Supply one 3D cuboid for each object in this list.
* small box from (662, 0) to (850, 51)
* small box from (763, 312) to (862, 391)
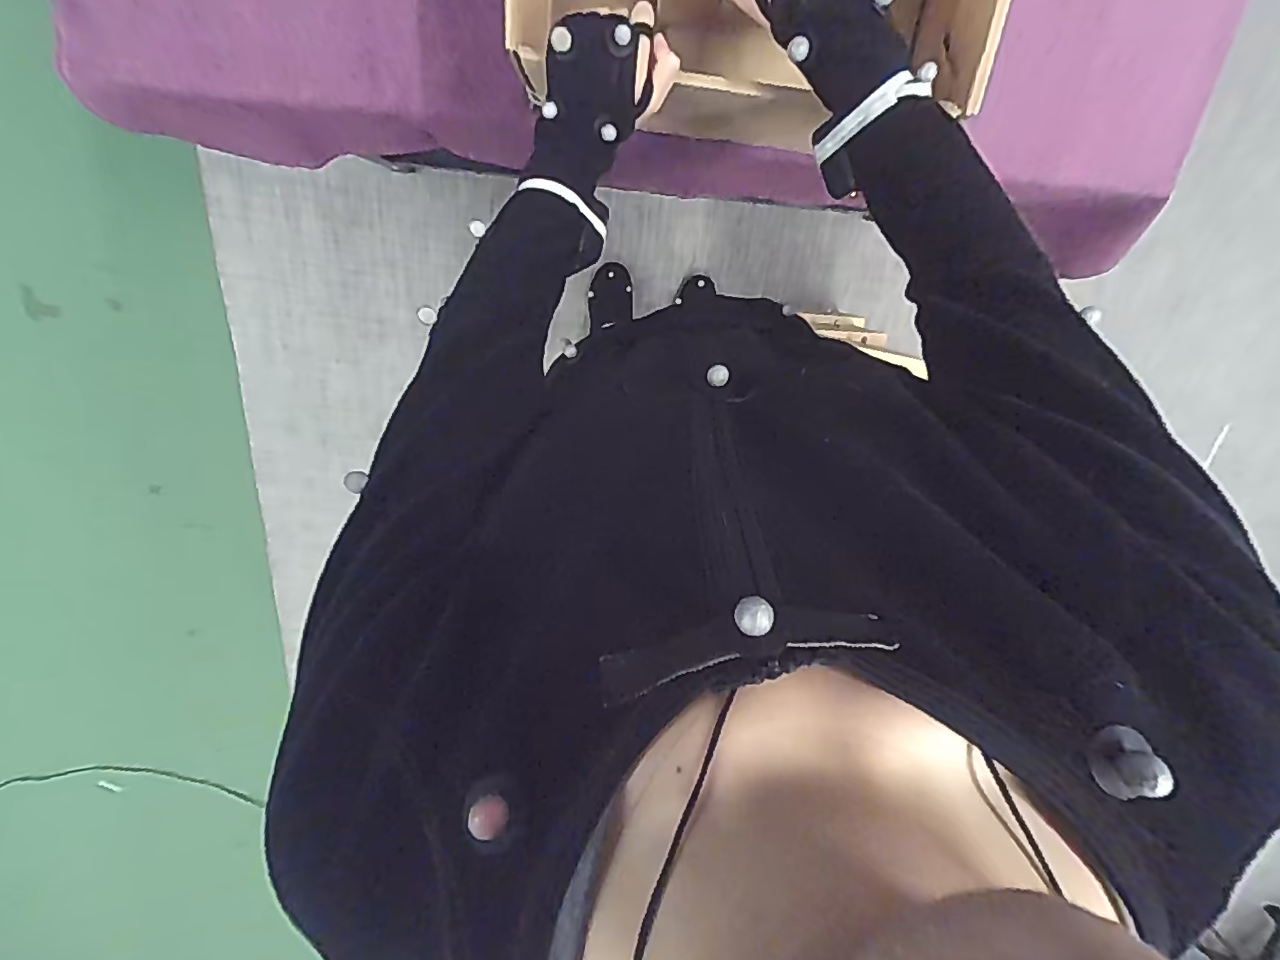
[{"bbox_3d":[0.109,-0.491,0.443,0.168,0.176,0.179,5,109,-3],"label":"small box"},{"bbox_3d":[0.423,-0.327,1.356,0.179,0.176,0.168,4,111,-3],"label":"small box"}]
